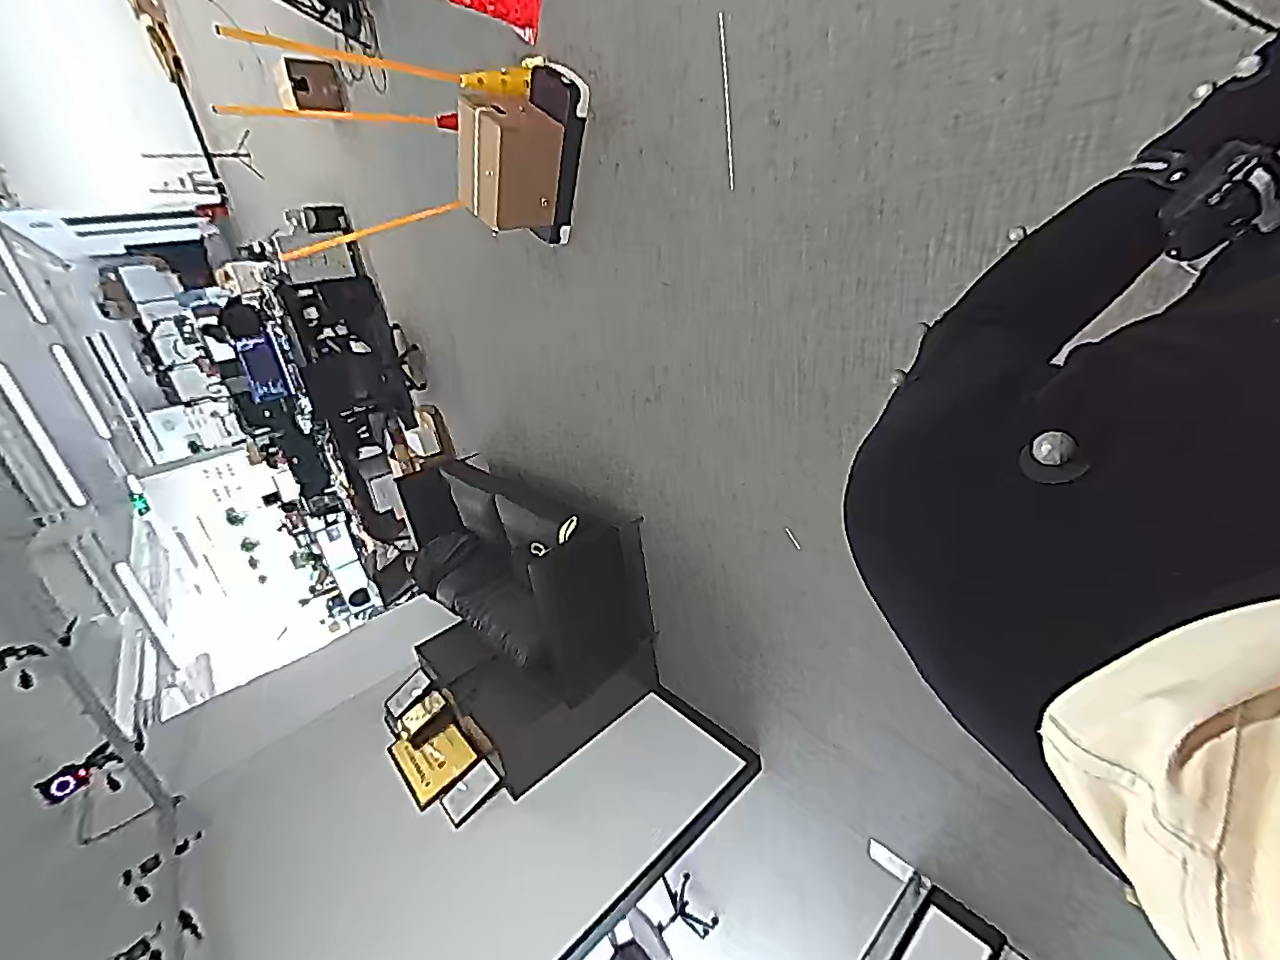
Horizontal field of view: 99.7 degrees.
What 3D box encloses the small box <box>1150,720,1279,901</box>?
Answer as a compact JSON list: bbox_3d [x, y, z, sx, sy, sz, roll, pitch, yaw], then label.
[{"bbox_3d":[1.063,0.577,0.966,0.168,0.176,0.179,23,127,46],"label":"small box"}]
